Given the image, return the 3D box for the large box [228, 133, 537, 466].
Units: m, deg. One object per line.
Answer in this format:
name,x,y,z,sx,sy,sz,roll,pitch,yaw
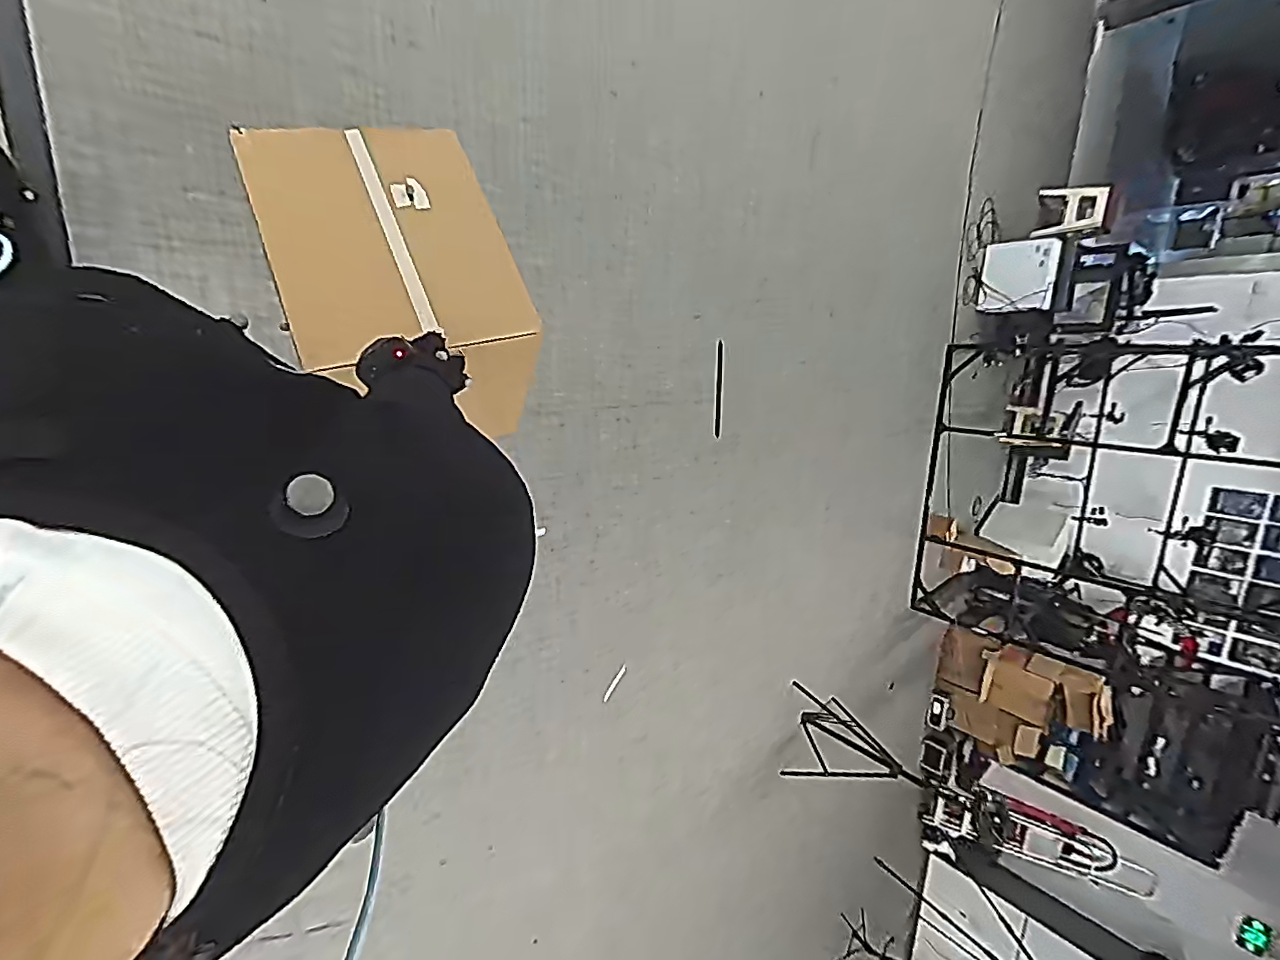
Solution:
large box,-0.412,-0.293,0.907,0.320,0.320,0.408,-19,74,-28
